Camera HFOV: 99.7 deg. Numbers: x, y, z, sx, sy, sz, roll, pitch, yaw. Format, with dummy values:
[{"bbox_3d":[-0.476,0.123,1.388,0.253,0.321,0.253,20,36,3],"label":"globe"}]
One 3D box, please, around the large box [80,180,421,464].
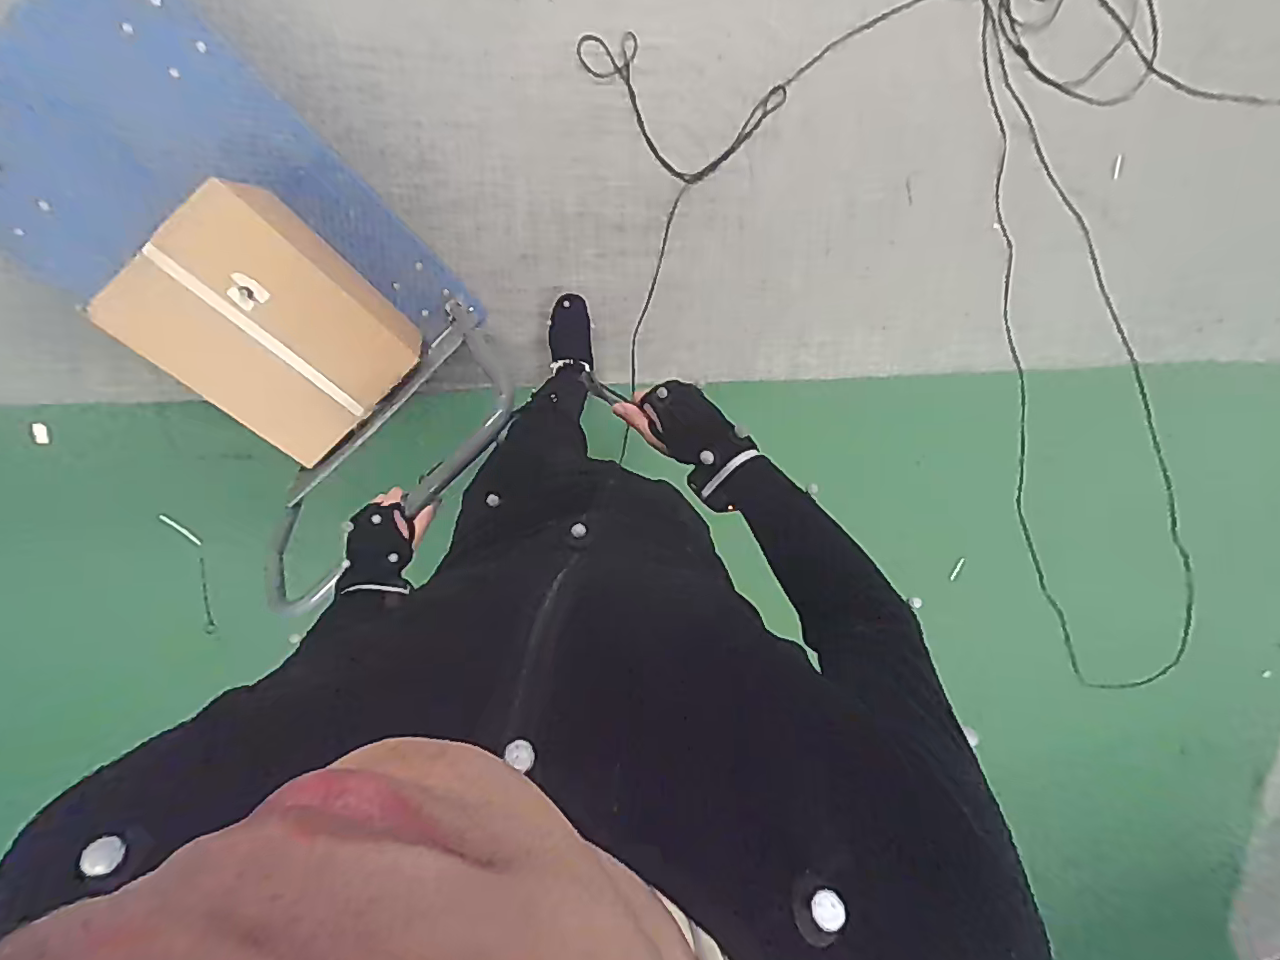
[{"bbox_3d":[-0.710,-0.307,1.082,0.320,0.320,0.408,-44,119,2],"label":"large box"}]
